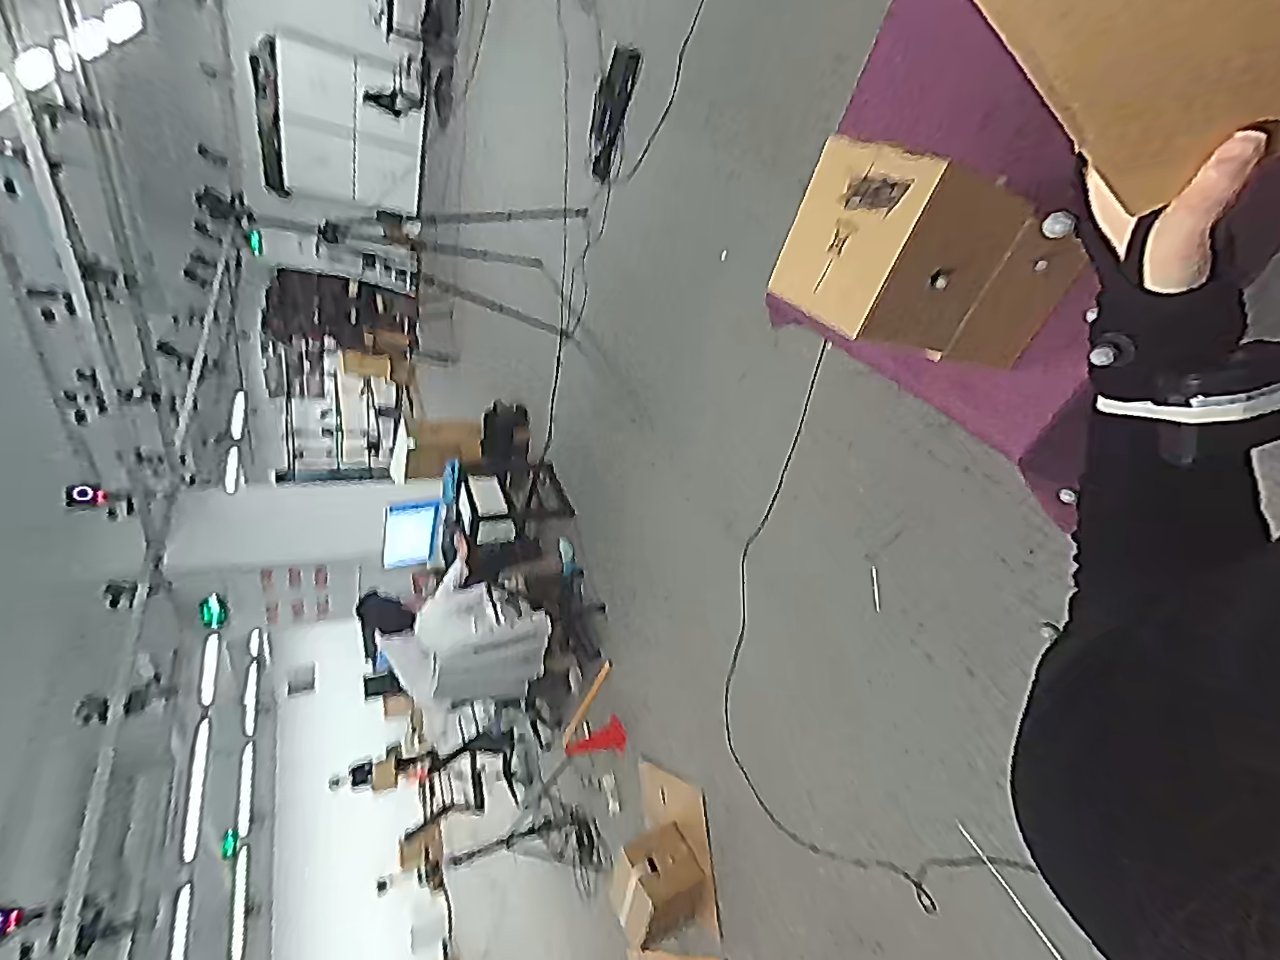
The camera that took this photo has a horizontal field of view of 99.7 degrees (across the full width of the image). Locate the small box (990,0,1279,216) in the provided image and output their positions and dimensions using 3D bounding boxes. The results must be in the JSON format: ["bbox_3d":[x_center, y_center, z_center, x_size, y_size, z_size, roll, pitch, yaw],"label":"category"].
[{"bbox_3d":[0.245,-0.249,0.193,0.168,0.179,0.176,-17,52,57],"label":"small box"}]

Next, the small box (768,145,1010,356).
[{"bbox_3d":[0.292,-0.264,0.642,0.168,0.176,0.179,54,135,43],"label":"small box"}]
